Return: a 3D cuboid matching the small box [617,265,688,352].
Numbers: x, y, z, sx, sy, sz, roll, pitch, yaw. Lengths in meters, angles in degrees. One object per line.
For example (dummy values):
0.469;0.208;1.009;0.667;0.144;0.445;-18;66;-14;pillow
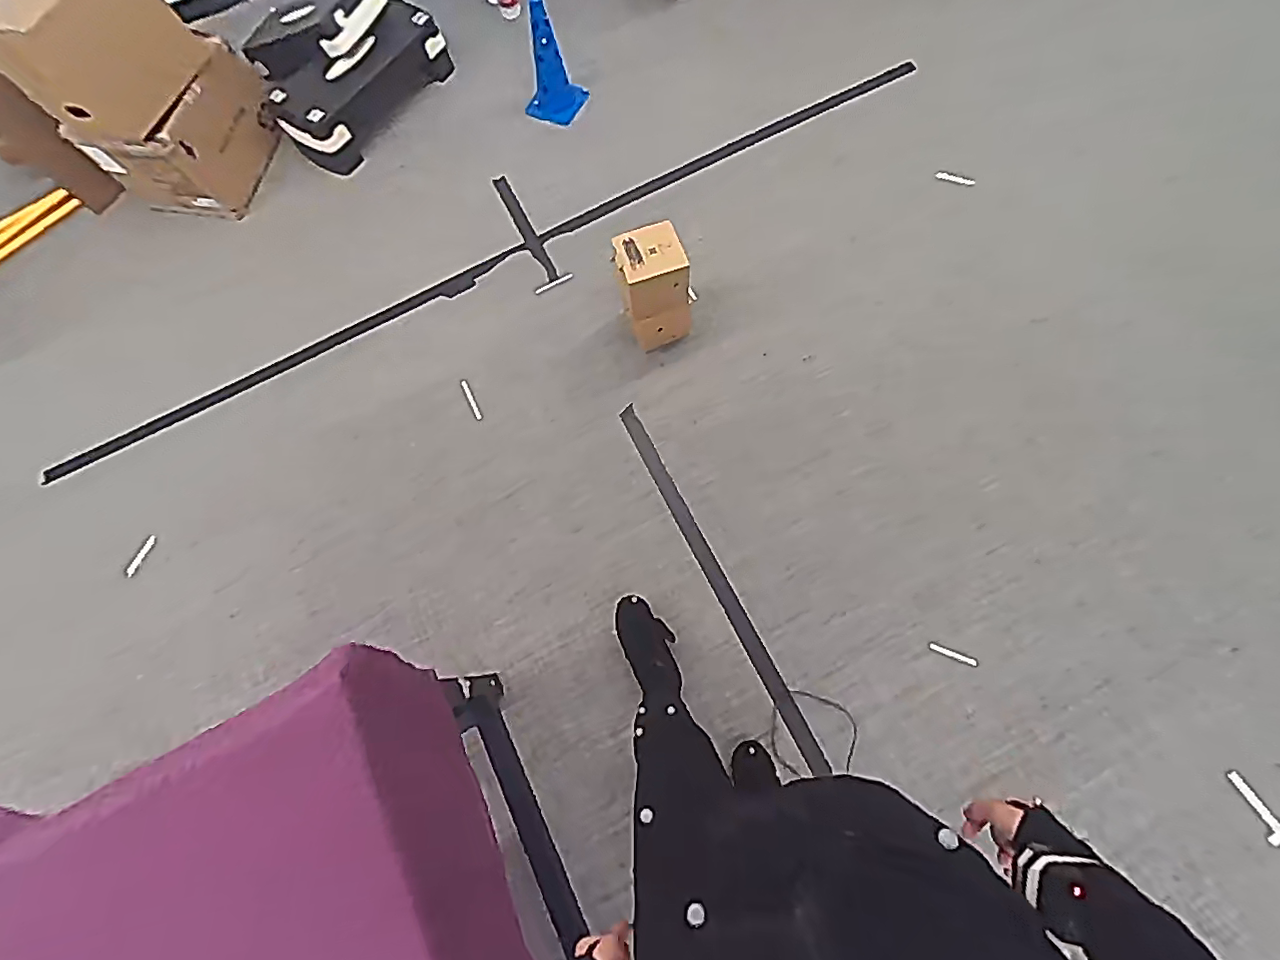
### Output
0.043;-0.526;1.691;0.168;0.176;0.179;-23;71;-4;small box
